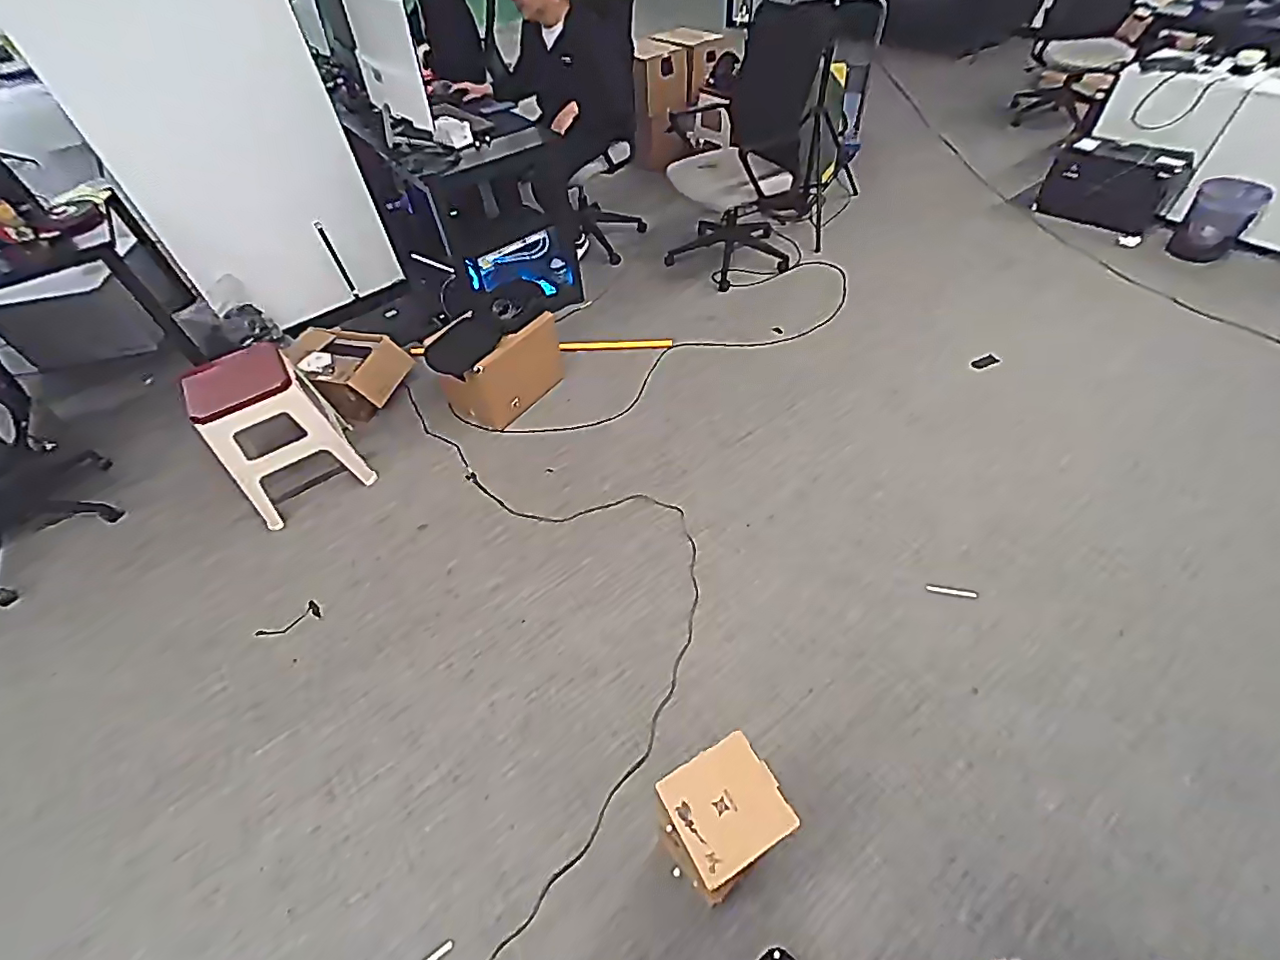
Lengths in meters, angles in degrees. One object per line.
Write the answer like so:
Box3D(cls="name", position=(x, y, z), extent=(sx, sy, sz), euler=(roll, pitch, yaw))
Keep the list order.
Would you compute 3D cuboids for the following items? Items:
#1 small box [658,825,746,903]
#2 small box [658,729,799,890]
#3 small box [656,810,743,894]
Box3D(cls="small box", position=(0.156, 0.781, 1.183), extent=(0.179, 0.176, 0.168), euler=(-35, 56, -22))
Box3D(cls="small box", position=(0.142, 0.570, 0.935), extent=(0.179, 0.176, 0.168), euler=(-25, 53, -17))
Box3D(cls="small box", position=(0.149, 0.673, 1.062), extent=(0.179, 0.176, 0.168), euler=(-37, 58, -25))
